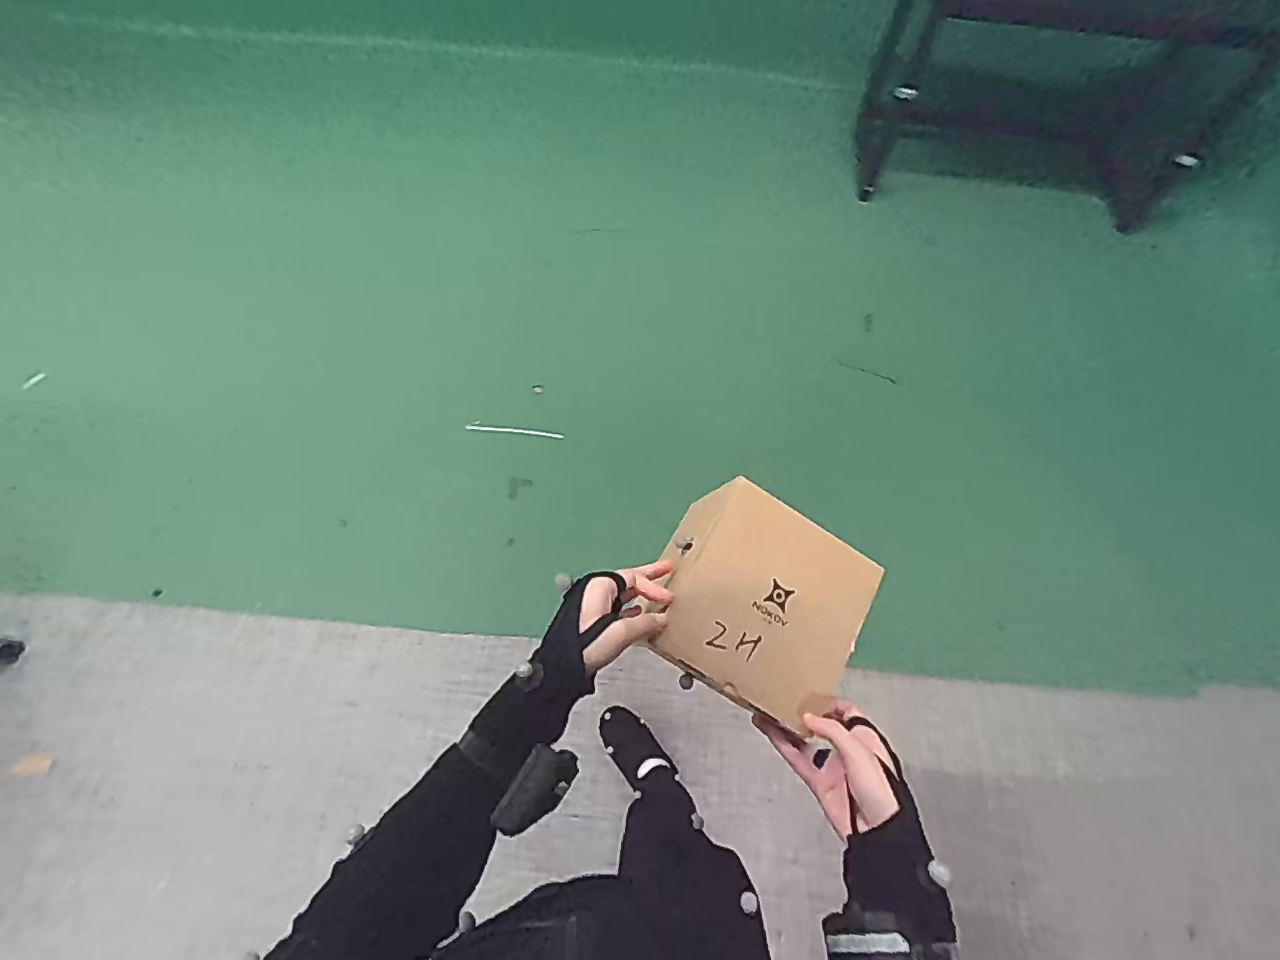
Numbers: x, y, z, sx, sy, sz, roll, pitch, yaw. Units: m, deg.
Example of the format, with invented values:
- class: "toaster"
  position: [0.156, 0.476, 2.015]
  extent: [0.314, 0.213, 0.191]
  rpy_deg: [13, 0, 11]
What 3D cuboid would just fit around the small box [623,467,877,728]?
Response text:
- class: "small box"
  position: [0.098, 0.116, 0.558]
  extent: [0.168, 0.176, 0.179]
  rpy_deg: [33, 73, -3]
